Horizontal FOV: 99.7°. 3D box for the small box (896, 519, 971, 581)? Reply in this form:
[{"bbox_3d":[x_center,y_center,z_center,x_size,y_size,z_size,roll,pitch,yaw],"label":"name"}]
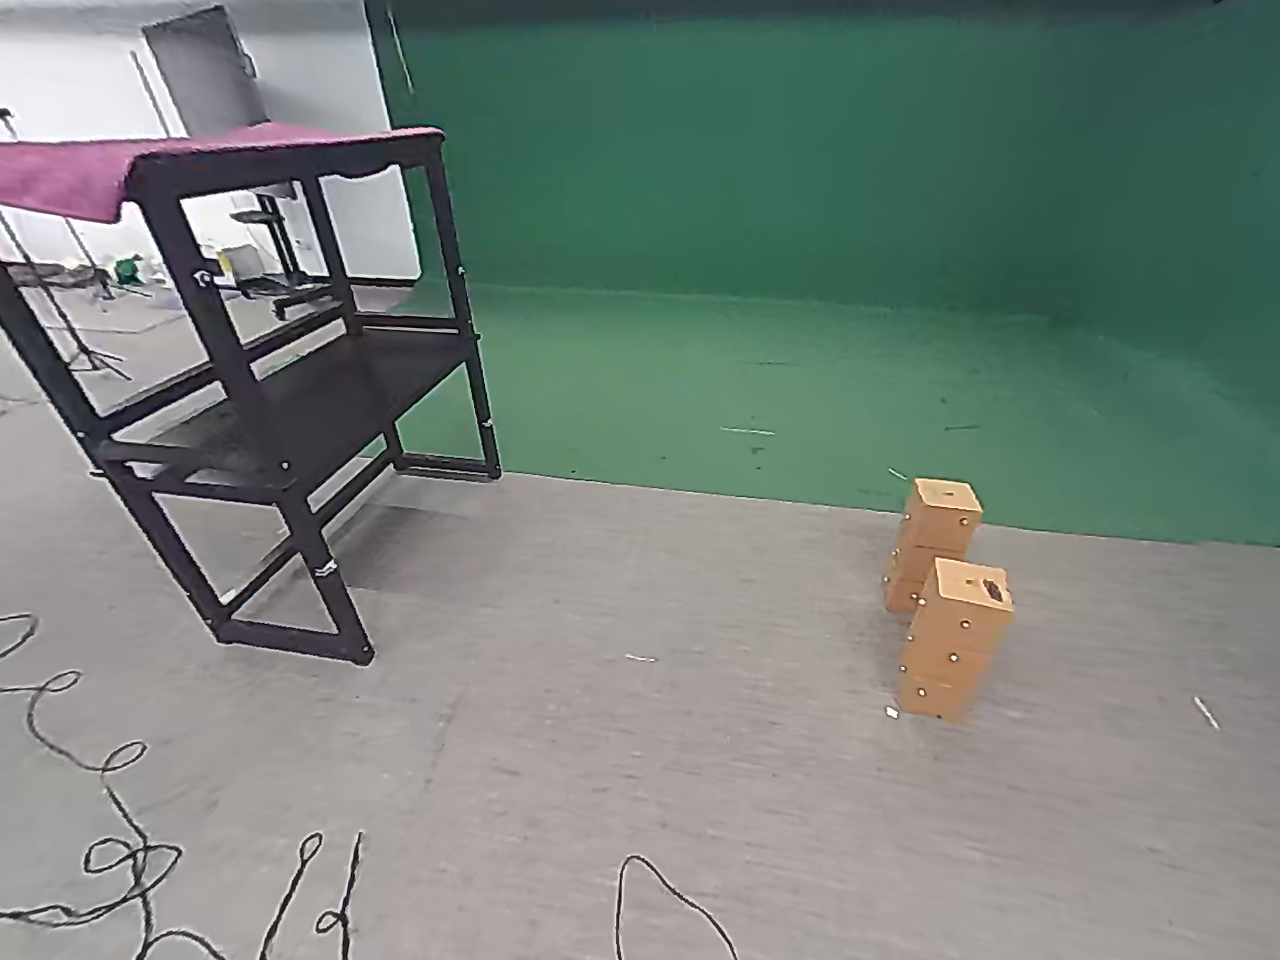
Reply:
[{"bbox_3d":[1.027,0.243,1.905,0.179,0.176,0.168,5,34,11],"label":"small box"}]

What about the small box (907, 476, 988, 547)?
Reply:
[{"bbox_3d":[1.020,0.107,1.811,0.179,0.176,0.168,6,34,10],"label":"small box"}]

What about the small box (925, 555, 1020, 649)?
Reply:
[{"bbox_3d":[0.902,0.336,1.483,0.179,0.176,0.168,10,36,18],"label":"small box"}]

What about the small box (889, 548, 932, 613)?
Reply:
[{"bbox_3d":[1.031,0.375,1.999,0.179,0.176,0.168,7,35,13],"label":"small box"}]

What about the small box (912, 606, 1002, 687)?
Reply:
[{"bbox_3d":[0.914,0.472,1.574,0.179,0.176,0.168,9,36,16],"label":"small box"}]
